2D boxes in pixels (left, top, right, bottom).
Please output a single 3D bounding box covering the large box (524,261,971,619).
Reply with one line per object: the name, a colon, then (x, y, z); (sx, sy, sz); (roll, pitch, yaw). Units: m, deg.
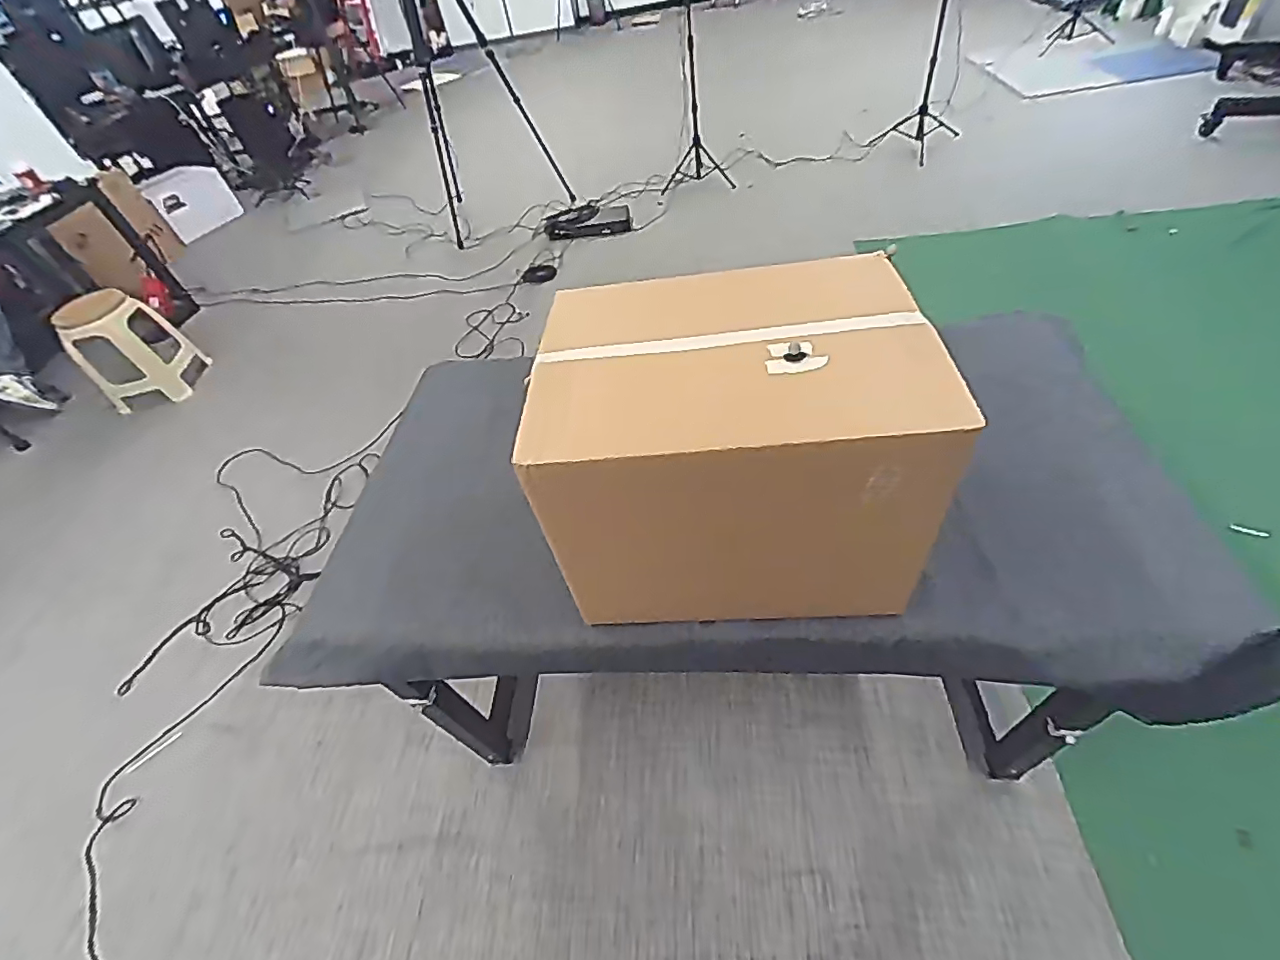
large box: (0.108, -0.041, 0.686); (0.408, 0.320, 0.320); (-4, 47, 7)
